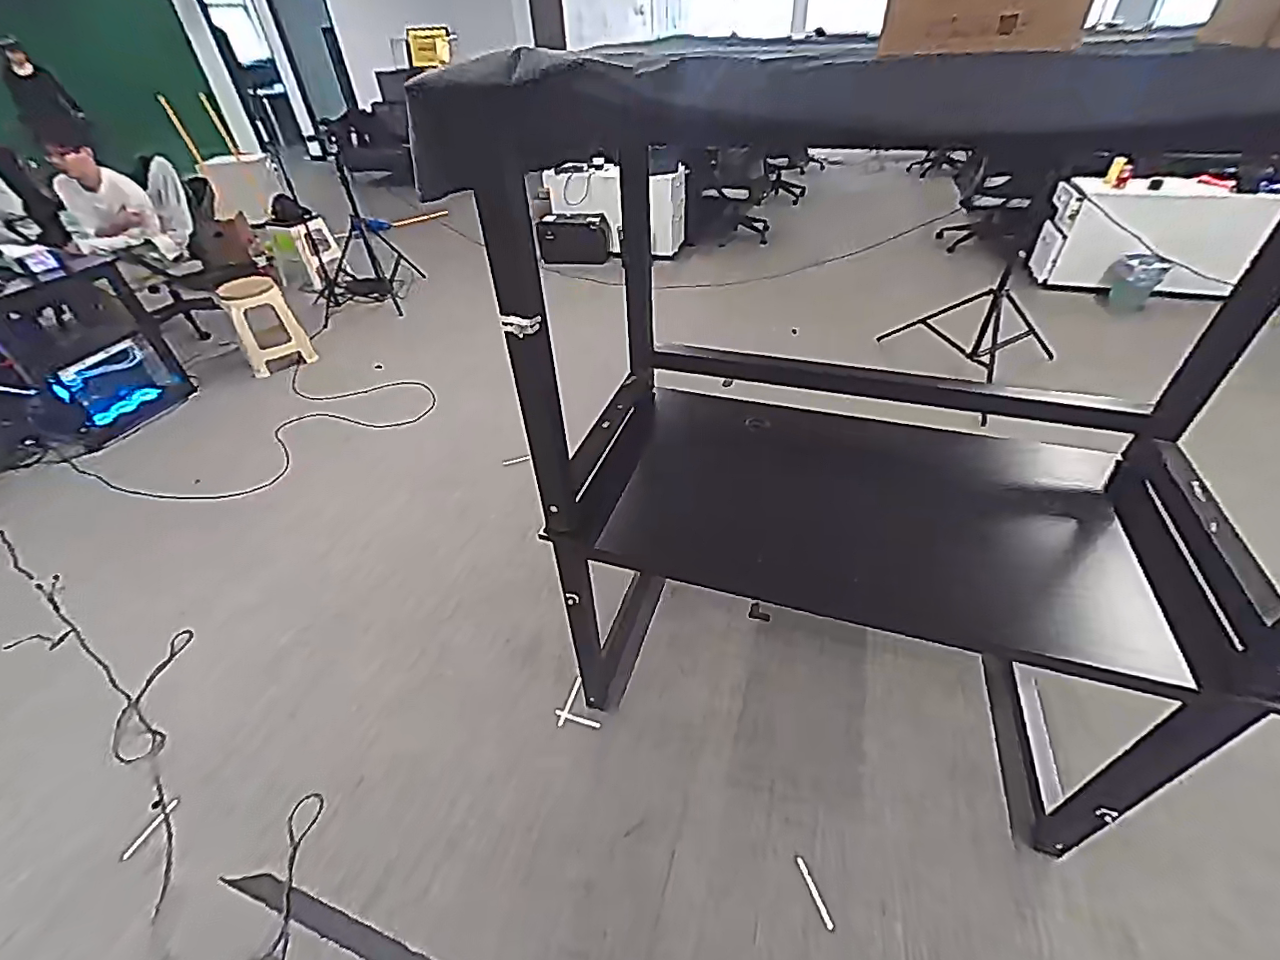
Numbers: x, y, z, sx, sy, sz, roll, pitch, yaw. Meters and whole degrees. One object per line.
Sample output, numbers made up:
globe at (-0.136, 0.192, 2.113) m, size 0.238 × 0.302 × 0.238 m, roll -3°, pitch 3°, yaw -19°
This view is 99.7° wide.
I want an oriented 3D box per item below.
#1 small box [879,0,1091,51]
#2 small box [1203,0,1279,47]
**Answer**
small box at (0.327, -0.505, 0.497) m, size 0.168 × 0.176 × 0.179 m, roll 12°, pitch 40°, yaw 17°
small box at (0.612, -0.451, 0.420) m, size 0.168 × 0.176 × 0.179 m, roll 14°, pitch 41°, yaw 19°
